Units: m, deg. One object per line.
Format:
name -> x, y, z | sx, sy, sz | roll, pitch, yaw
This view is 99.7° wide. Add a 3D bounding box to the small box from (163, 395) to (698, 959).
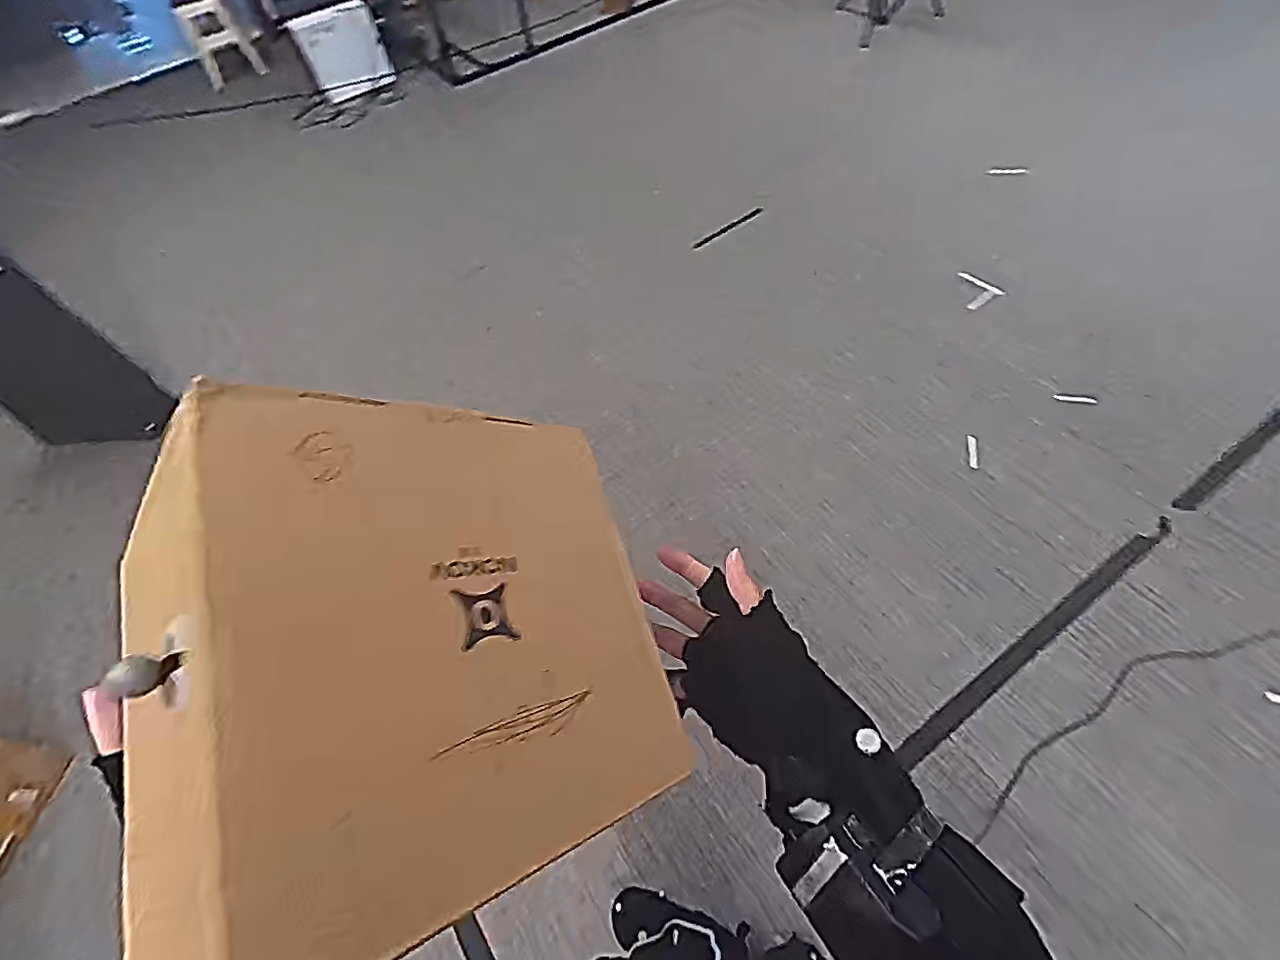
small box -> -0.107, 0.089, 0.260 | 0.176, 0.168, 0.179 | -33, 66, 35
